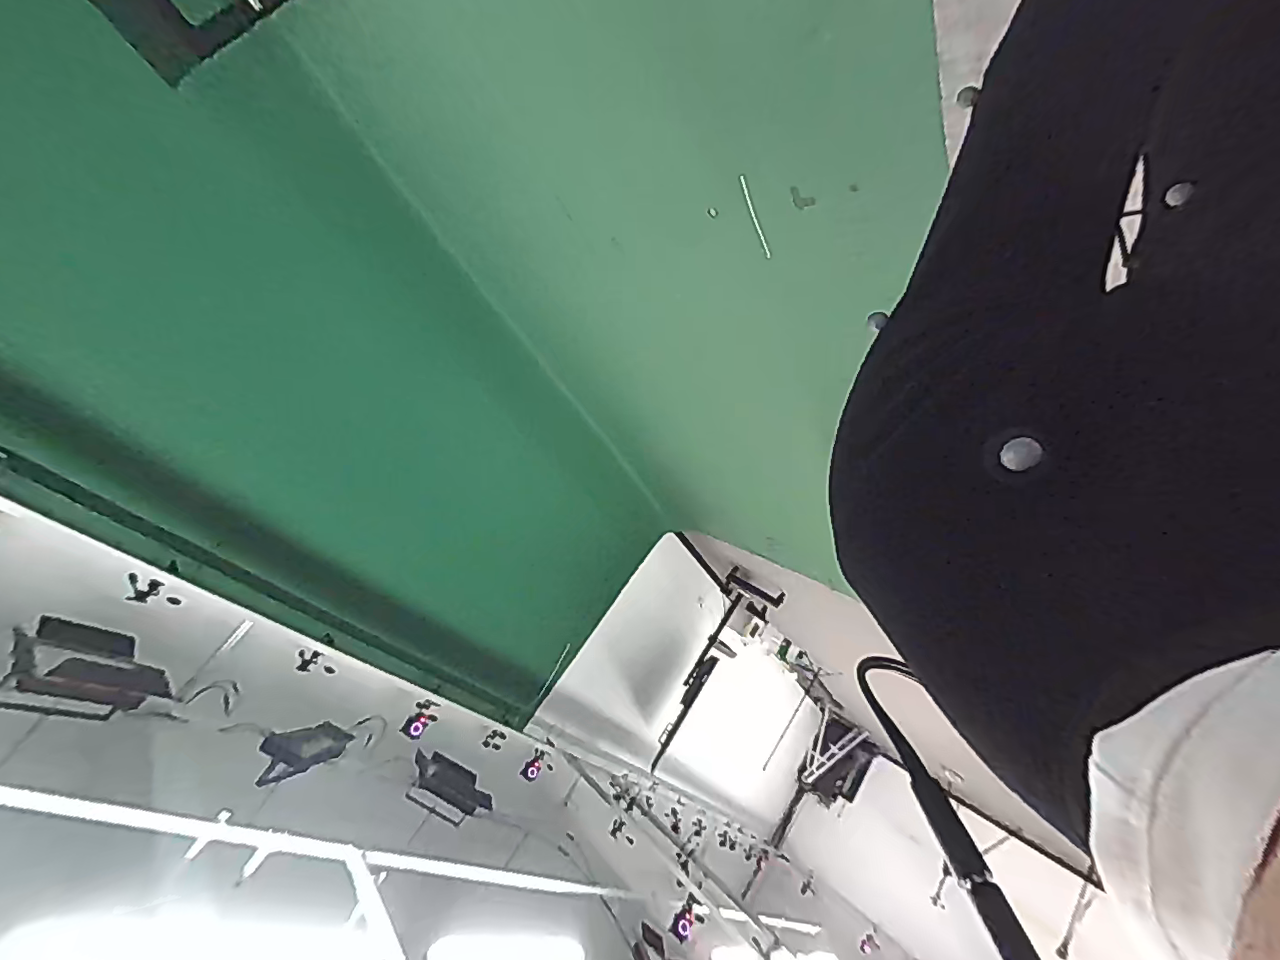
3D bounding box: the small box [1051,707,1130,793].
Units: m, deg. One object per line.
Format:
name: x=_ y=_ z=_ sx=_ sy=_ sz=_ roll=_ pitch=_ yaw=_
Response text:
small box: x=1.481 y=0.883 z=1.776 sx=0.168 sy=0.176 sz=0.179 roll=17 pitch=153 yaw=48
